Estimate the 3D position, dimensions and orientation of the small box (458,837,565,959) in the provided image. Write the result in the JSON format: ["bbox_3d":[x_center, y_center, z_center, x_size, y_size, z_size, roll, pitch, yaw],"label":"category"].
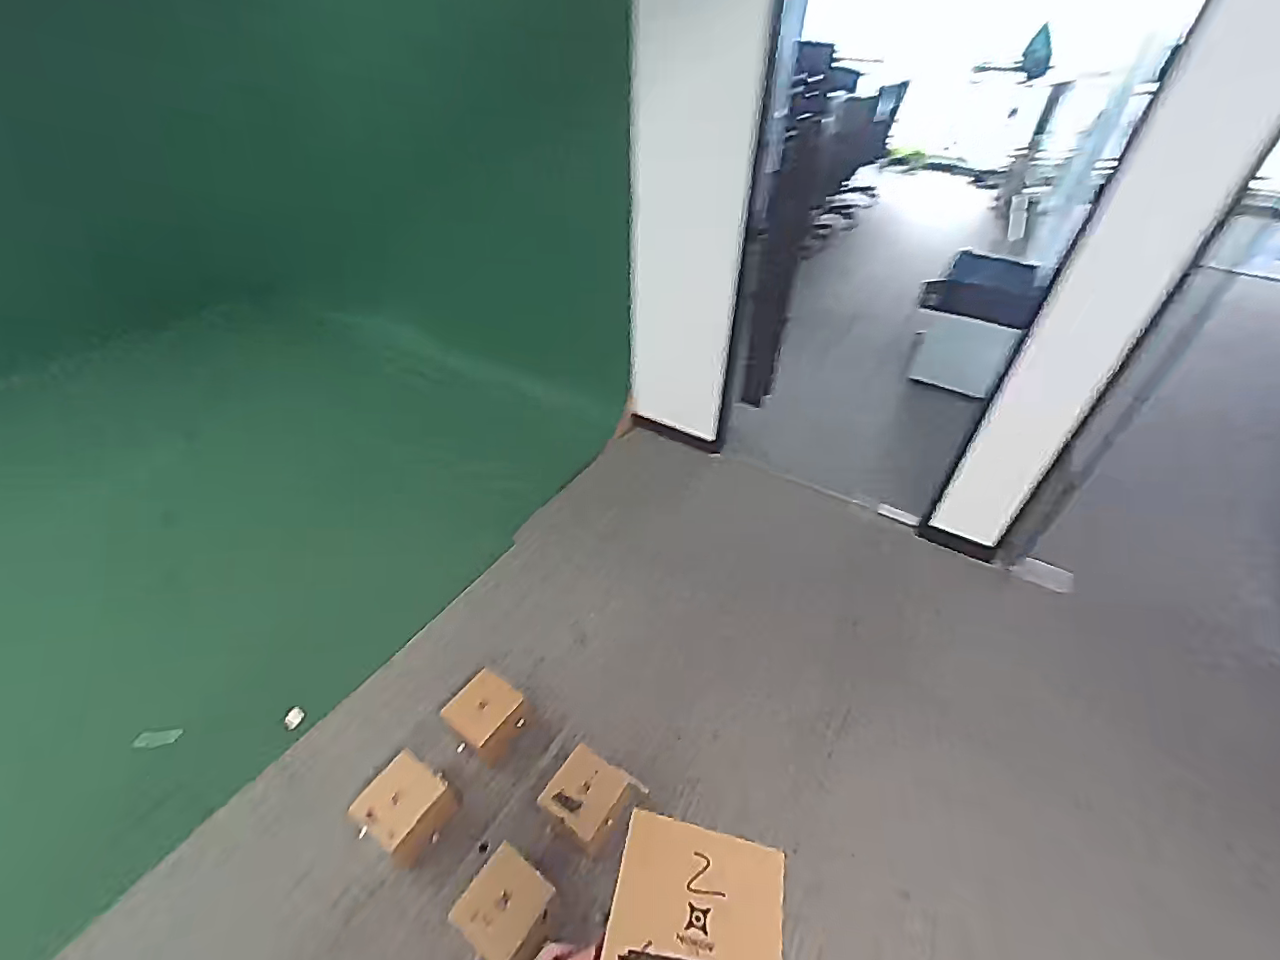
[{"bbox_3d":[-0.288,0.984,1.251,0.168,0.176,0.179,26,48,26],"label":"small box"}]

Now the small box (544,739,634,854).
[{"bbox_3d":[-0.126,0.833,1.418,0.168,0.176,0.179,26,48,26],"label":"small box"}]

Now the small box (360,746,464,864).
[{"bbox_3d":[-0.580,0.845,1.404,0.168,0.176,0.179,24,46,25],"label":"small box"}]
